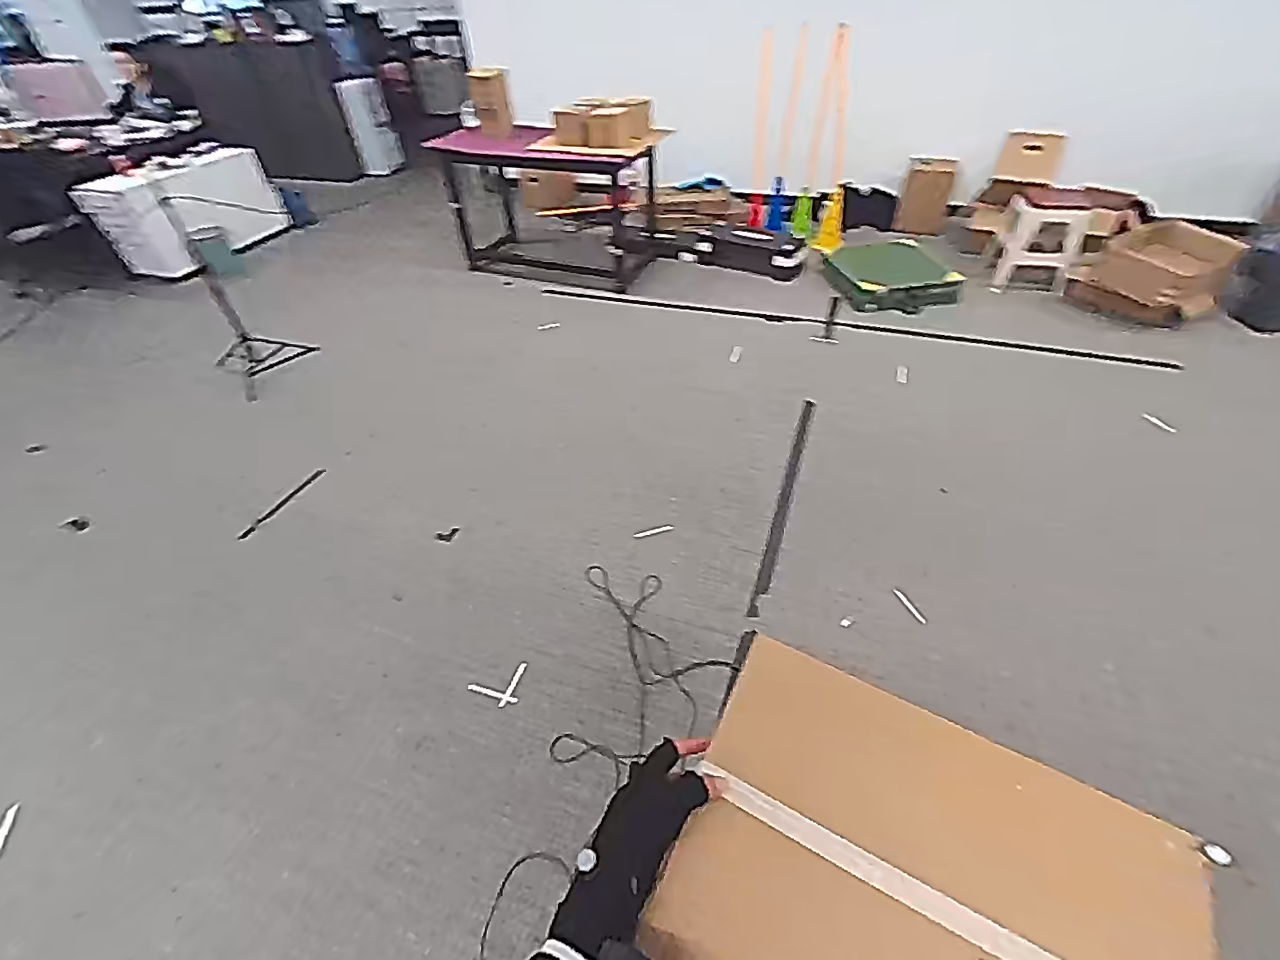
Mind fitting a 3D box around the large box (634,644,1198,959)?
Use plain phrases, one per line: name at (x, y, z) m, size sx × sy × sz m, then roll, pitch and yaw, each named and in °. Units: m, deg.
large box at (0.242, 0.447, 0.576) m, size 0.408 × 0.320 × 0.320 m, roll 22°, pitch 56°, yaw 20°
